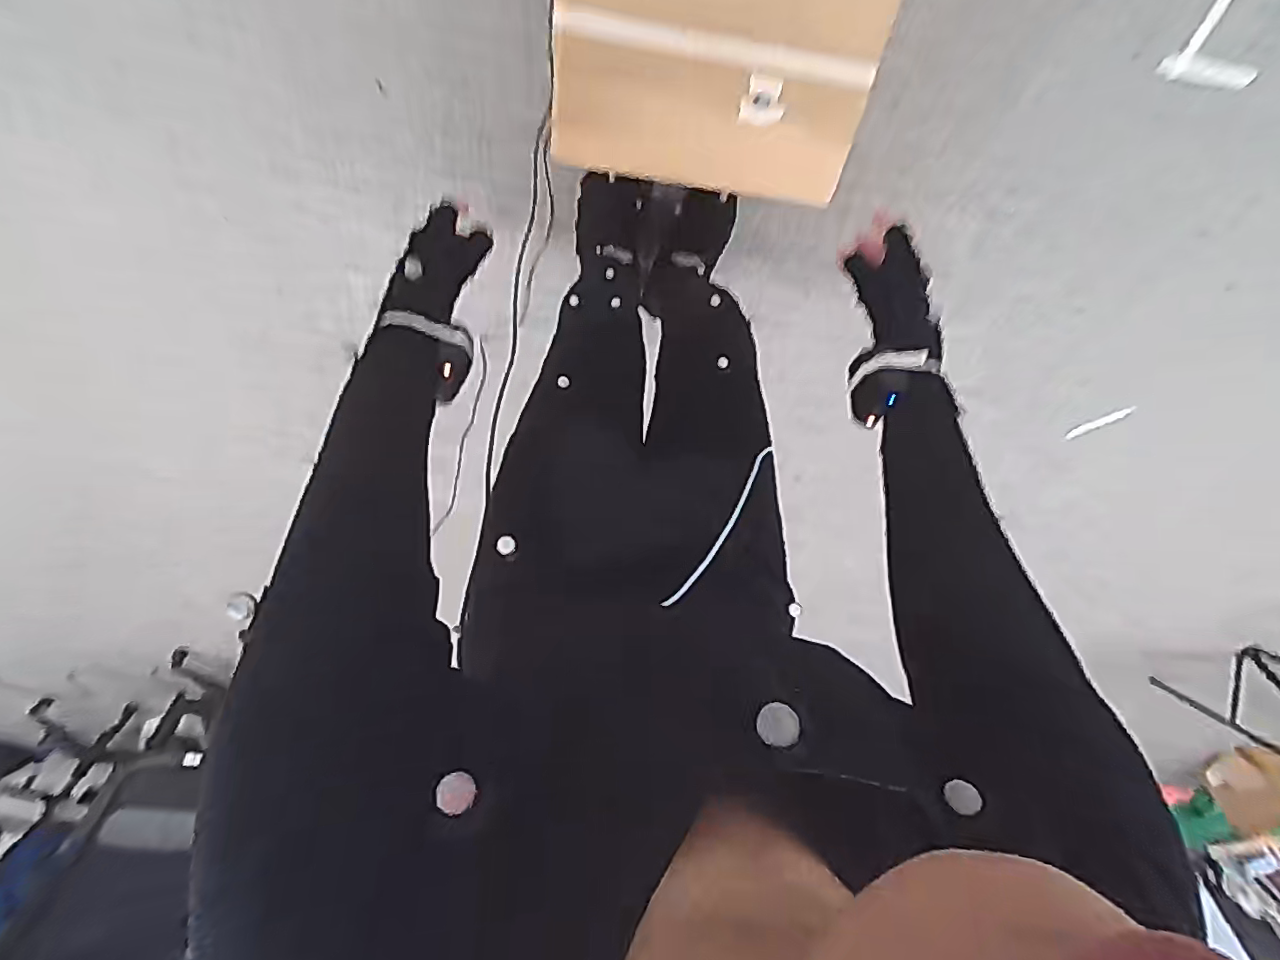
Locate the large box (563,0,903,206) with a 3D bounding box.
[{"bbox_3d":[0.102,-0.636,0.791,0.408,0.320,0.320,6,133,-8],"label":"large box"}]
